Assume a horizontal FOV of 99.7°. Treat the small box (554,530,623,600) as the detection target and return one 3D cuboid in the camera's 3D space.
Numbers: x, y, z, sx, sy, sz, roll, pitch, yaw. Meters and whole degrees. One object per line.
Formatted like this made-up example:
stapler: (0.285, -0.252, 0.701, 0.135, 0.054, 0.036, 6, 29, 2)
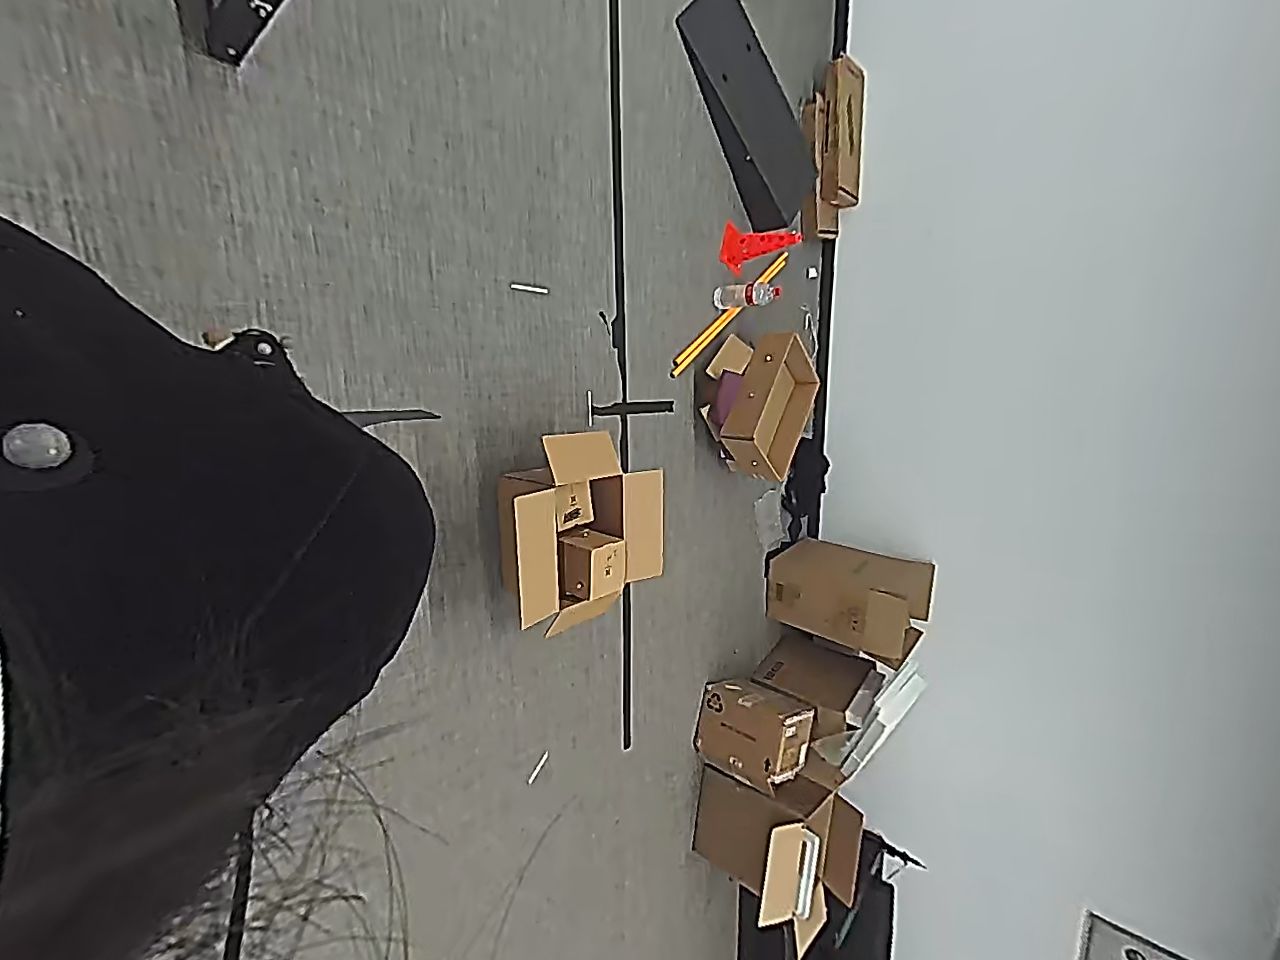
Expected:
small box: (-0.175, 0.280, 1.818, 0.168, 0.176, 0.179, -10, 105, -50)
